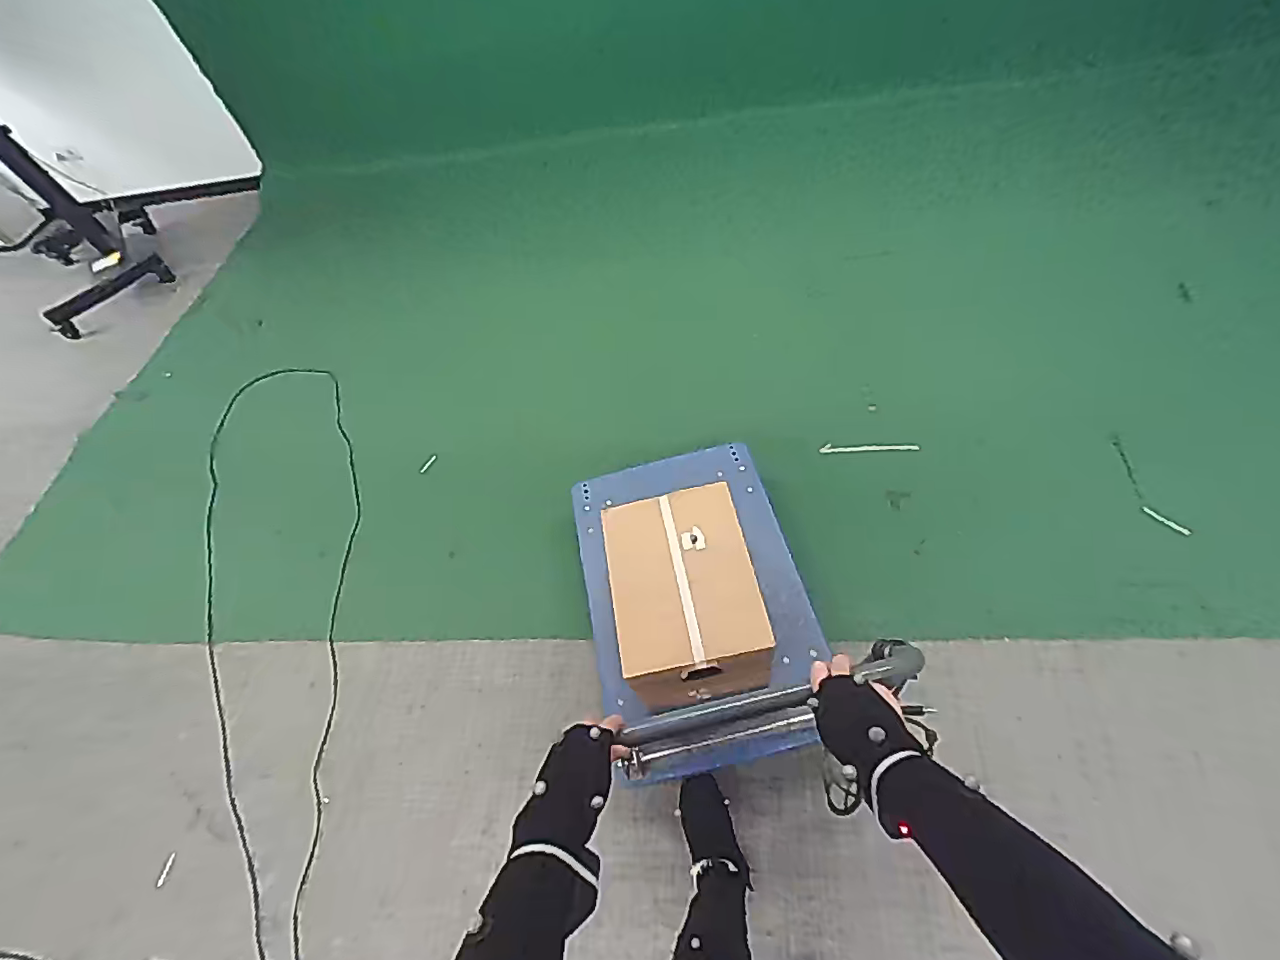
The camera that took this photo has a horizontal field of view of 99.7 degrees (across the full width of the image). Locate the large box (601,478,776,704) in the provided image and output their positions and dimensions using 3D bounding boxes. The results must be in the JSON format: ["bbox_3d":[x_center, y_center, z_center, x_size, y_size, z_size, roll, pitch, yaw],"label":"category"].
[{"bbox_3d":[0.112,0.270,1.295,0.320,0.320,0.408,-12,55,2],"label":"large box"}]
